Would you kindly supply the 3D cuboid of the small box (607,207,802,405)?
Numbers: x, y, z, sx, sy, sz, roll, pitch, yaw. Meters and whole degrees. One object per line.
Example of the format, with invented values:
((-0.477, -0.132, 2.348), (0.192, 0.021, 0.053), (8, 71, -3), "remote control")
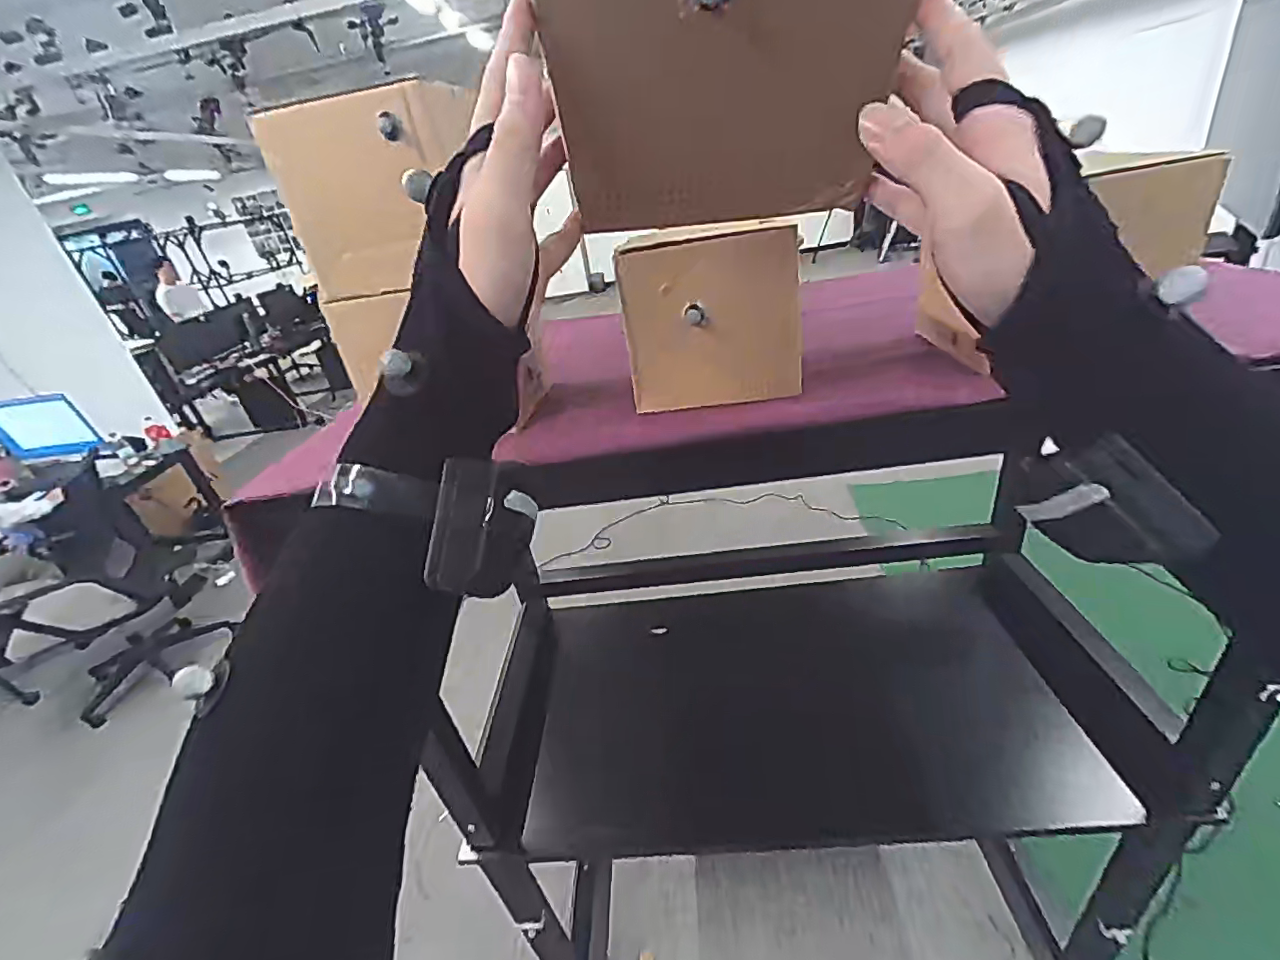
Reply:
((0.076, -0.192, 0.601), (0.179, 0.176, 0.168), (-7, 29, 10), "small box")

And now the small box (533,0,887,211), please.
((0.037, -0.280, 0.308), (0.179, 0.176, 0.168), (-3, 63, 7), "small box")

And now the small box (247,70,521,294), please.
((-0.249, -0.303, 0.575), (0.179, 0.176, 0.168), (-4, 29, 10), "small box")

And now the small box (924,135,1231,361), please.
((0.406, -0.229, 0.546), (0.179, 0.176, 0.168), (-8, 30, 7), "small box")
